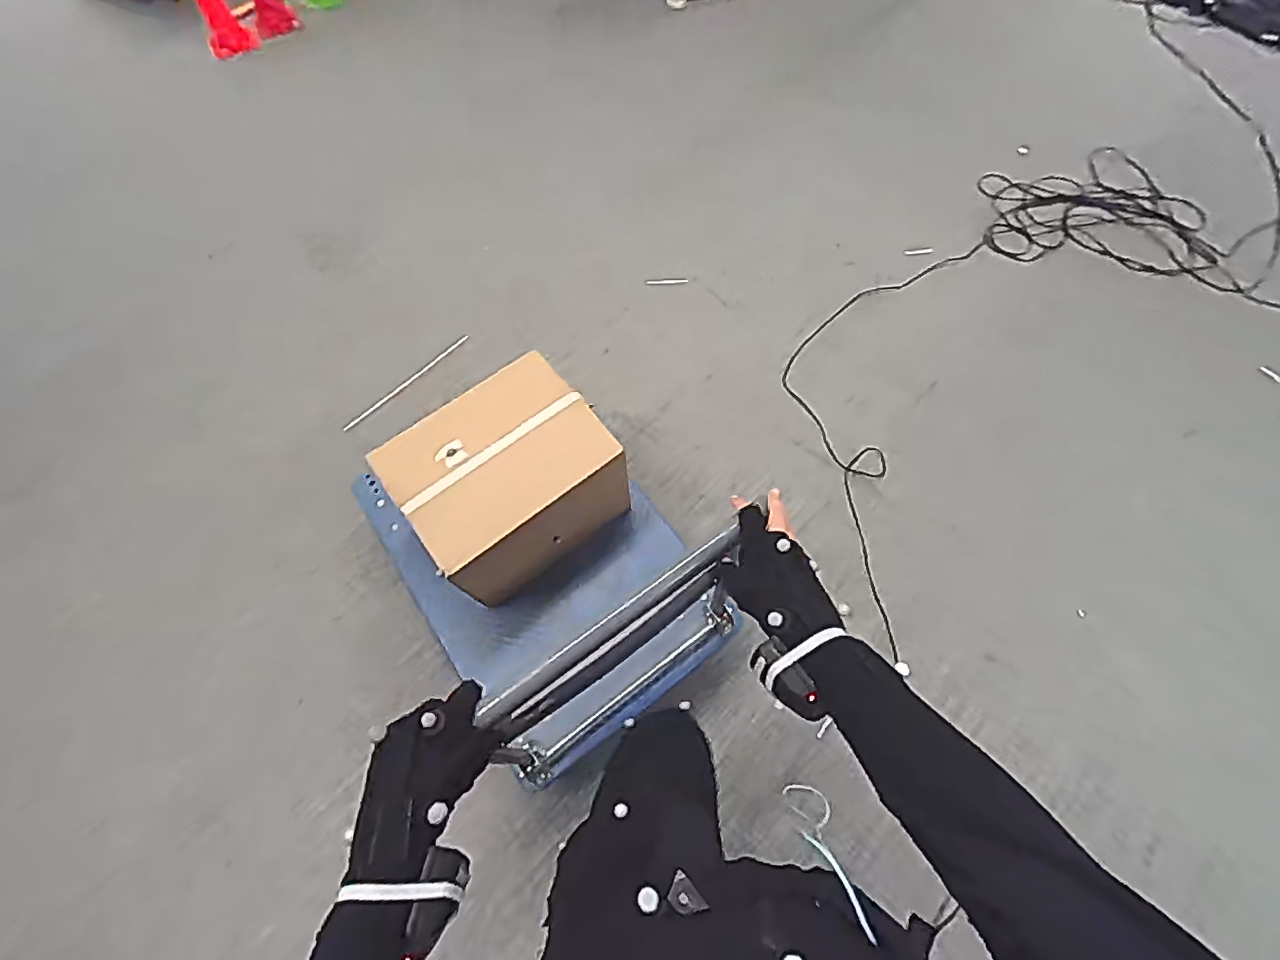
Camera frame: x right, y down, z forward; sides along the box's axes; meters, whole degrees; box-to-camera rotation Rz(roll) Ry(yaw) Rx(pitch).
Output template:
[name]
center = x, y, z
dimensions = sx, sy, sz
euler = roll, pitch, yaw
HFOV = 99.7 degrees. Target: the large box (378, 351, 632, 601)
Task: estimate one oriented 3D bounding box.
[large box]
center = -0.265, 0.003, 1.195
dimensions = 0.408, 0.320, 0.320
euler = -38, 70, -13
